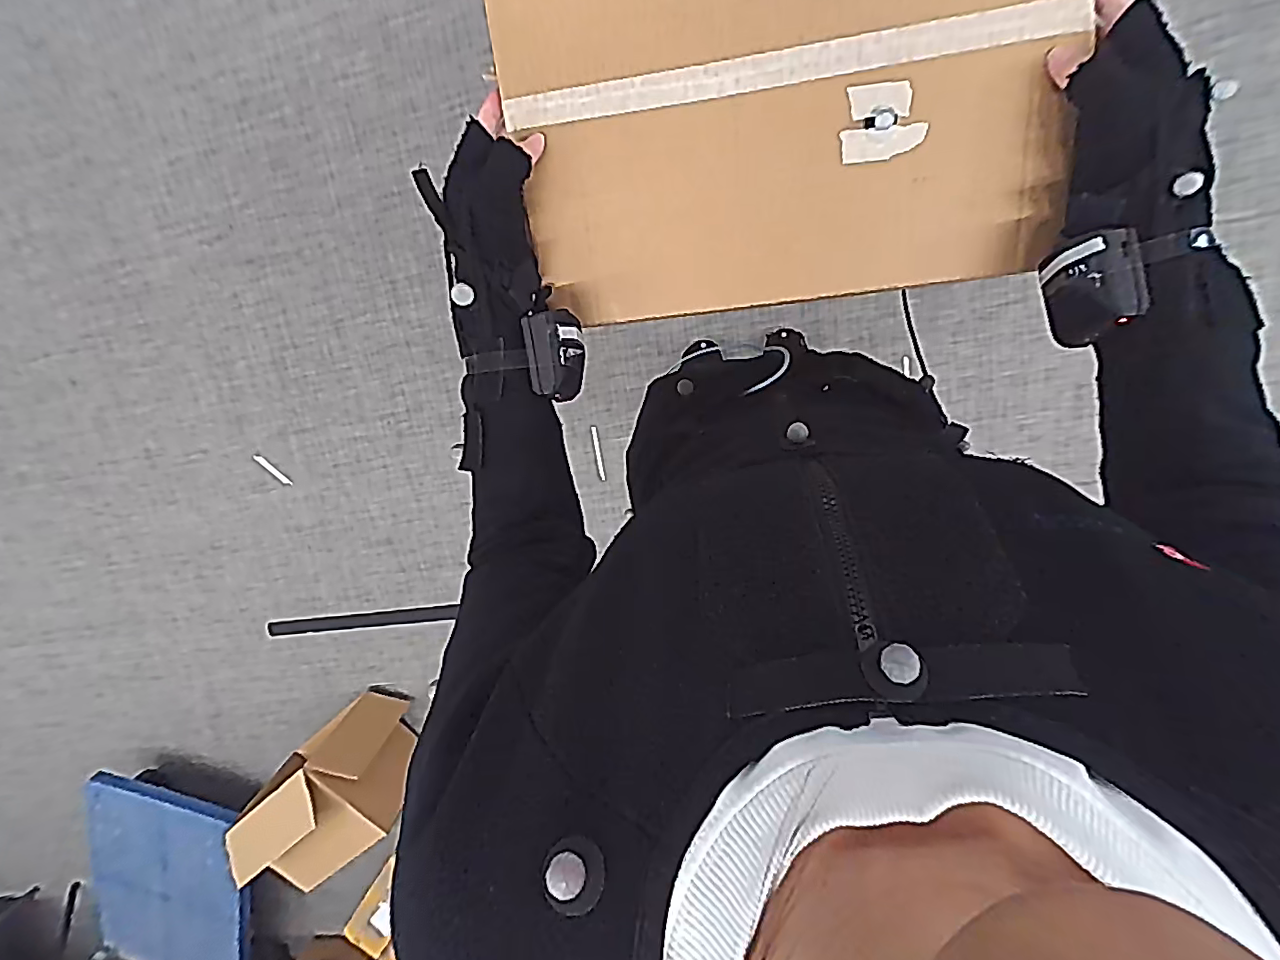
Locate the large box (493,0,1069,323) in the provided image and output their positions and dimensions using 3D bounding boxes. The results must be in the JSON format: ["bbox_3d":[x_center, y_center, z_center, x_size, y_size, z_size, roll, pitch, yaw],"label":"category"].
[{"bbox_3d":[0.108,-0.342,0.536,0.408,0.320,0.320,-6,107,6],"label":"large box"}]
